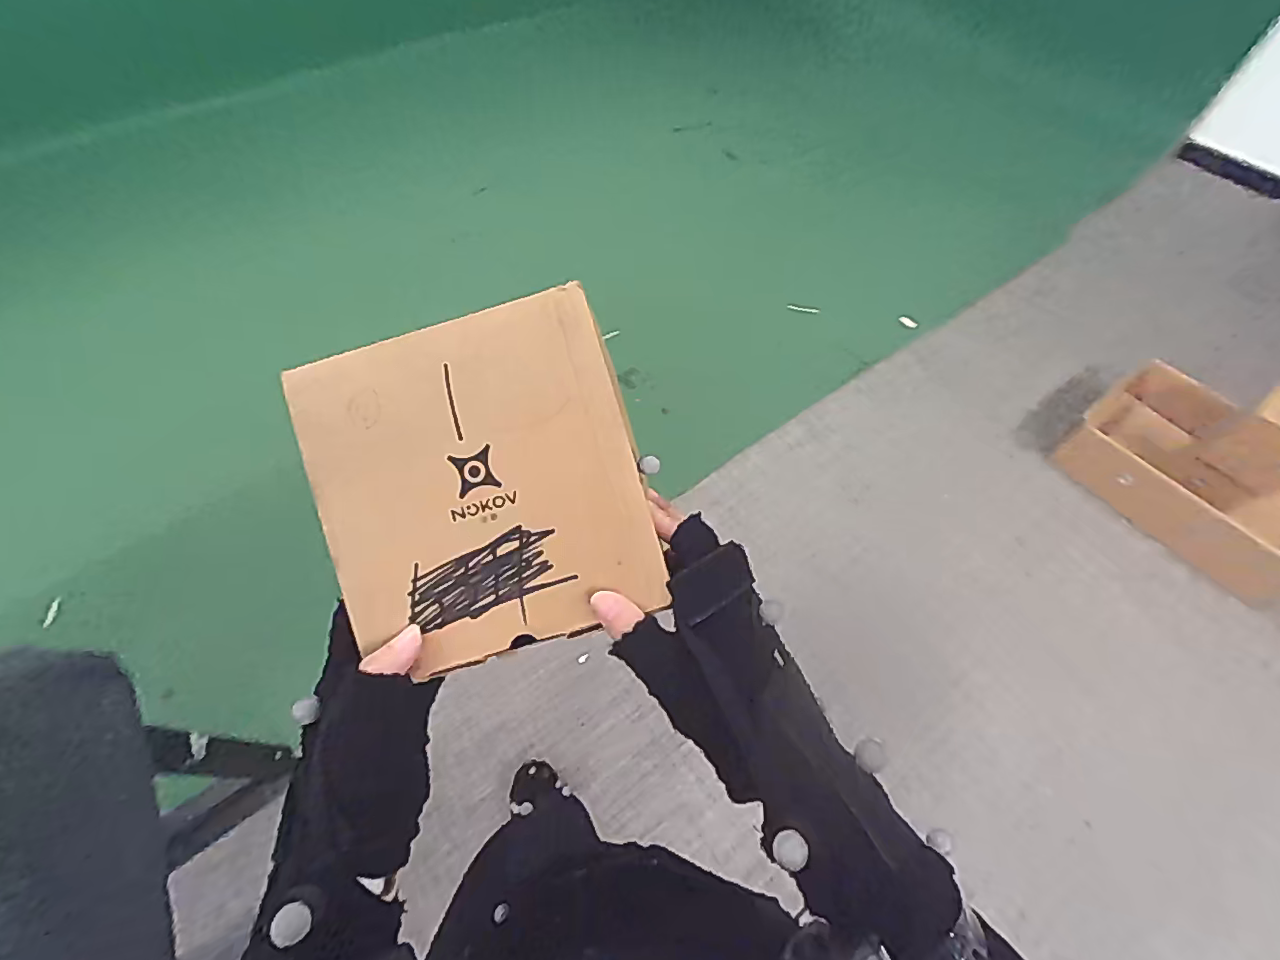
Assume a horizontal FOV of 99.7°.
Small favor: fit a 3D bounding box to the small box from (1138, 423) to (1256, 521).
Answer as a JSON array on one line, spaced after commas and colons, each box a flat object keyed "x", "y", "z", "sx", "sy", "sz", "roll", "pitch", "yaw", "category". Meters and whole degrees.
[{"x": 1.547, "y": -0.018, "z": 1.491, "sx": 0.168, "sy": 0.176, "sz": 0.179, "roll": -35, "pitch": 65, "yaw": -21, "category": "small box"}]

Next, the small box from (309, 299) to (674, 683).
[{"x": -0.076, "y": 0.007, "z": 0.368, "sx": 0.168, "sy": 0.176, "sz": 0.179, "roll": -16, "pitch": 88, "yaw": 1, "category": "small box"}]

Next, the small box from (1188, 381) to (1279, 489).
[{"x": 1.536, "y": -0.101, "z": 1.329, "sx": 0.168, "sy": 0.176, "sz": 0.179, "roll": -37, "pitch": 66, "yaw": -21, "category": "small box"}]
